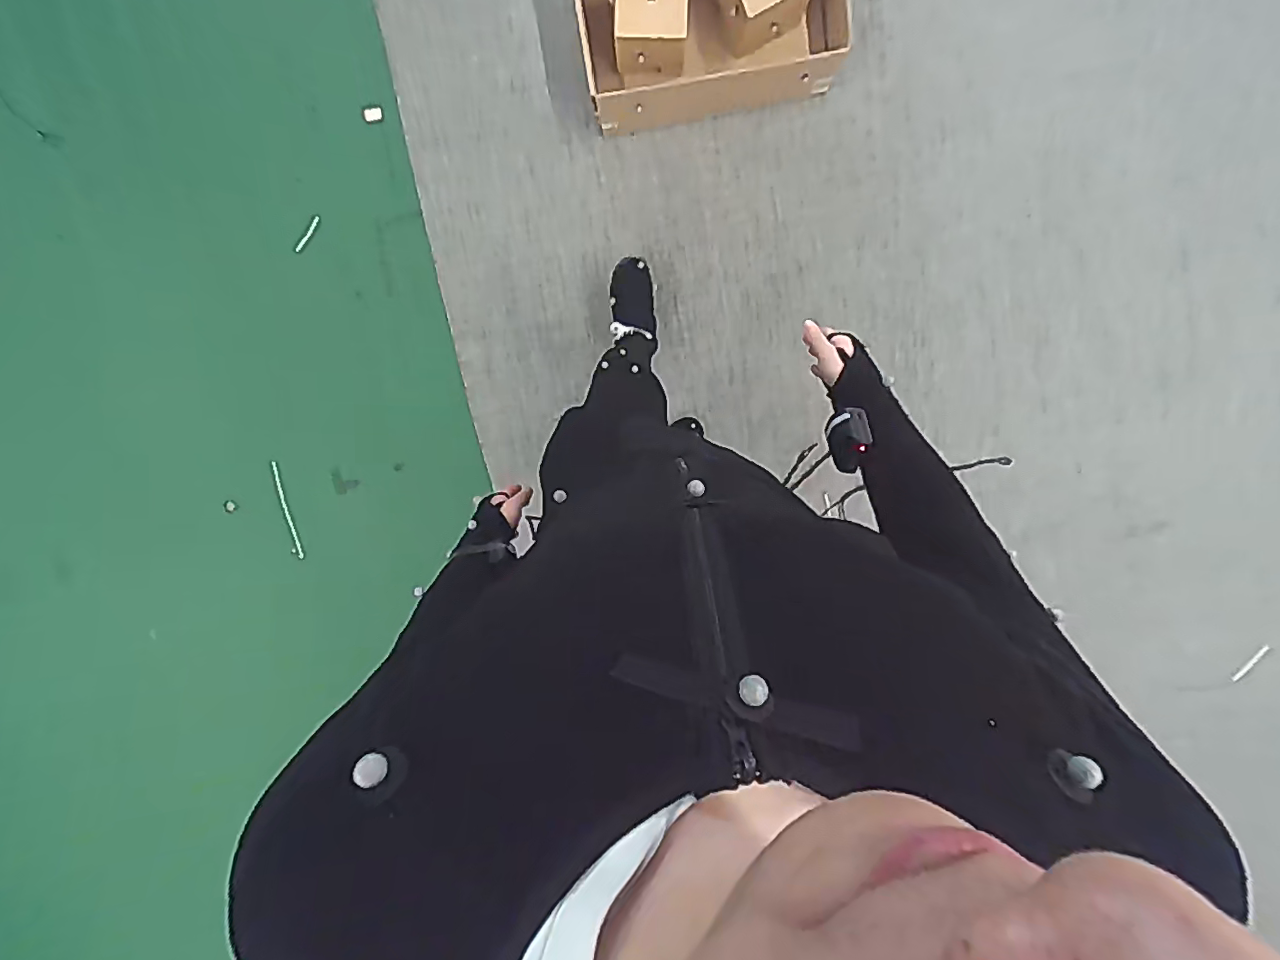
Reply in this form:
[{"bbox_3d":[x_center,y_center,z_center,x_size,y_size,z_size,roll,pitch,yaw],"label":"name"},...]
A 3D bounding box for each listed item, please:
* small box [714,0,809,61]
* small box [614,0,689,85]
[{"bbox_3d":[0.285,-1.137,1.270,0.168,0.176,0.179,-24,98,6],"label":"small box"},{"bbox_3d":[0.030,-1.081,1.290,0.168,0.176,0.179,2,99,1],"label":"small box"}]
